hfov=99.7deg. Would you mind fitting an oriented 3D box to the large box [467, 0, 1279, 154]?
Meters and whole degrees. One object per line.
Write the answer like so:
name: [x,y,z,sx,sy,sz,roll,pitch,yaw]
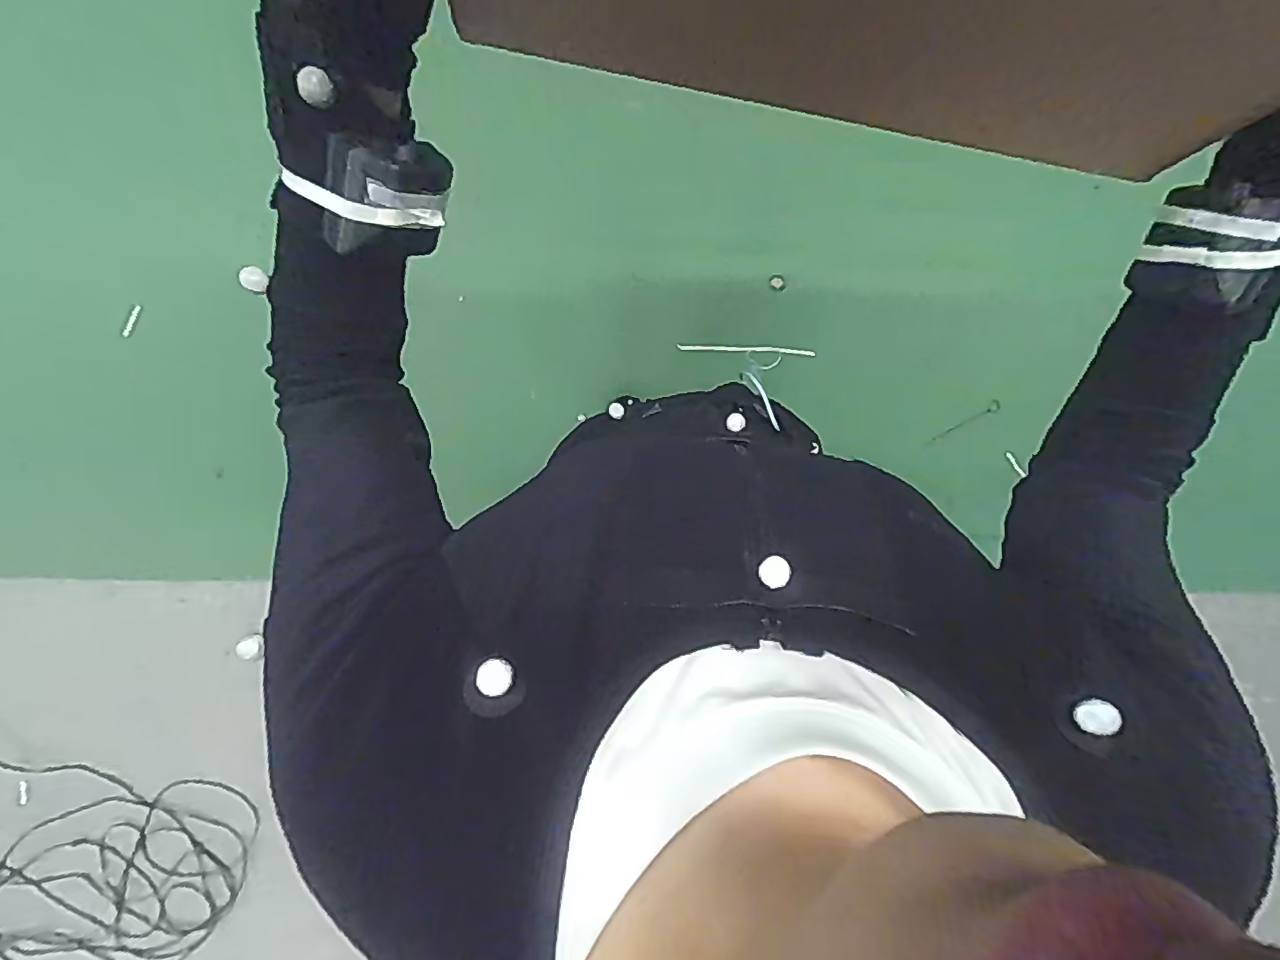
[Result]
large box: [0.143,-0.366,0.161,0.408,0.320,0.320,5,87,-10]
